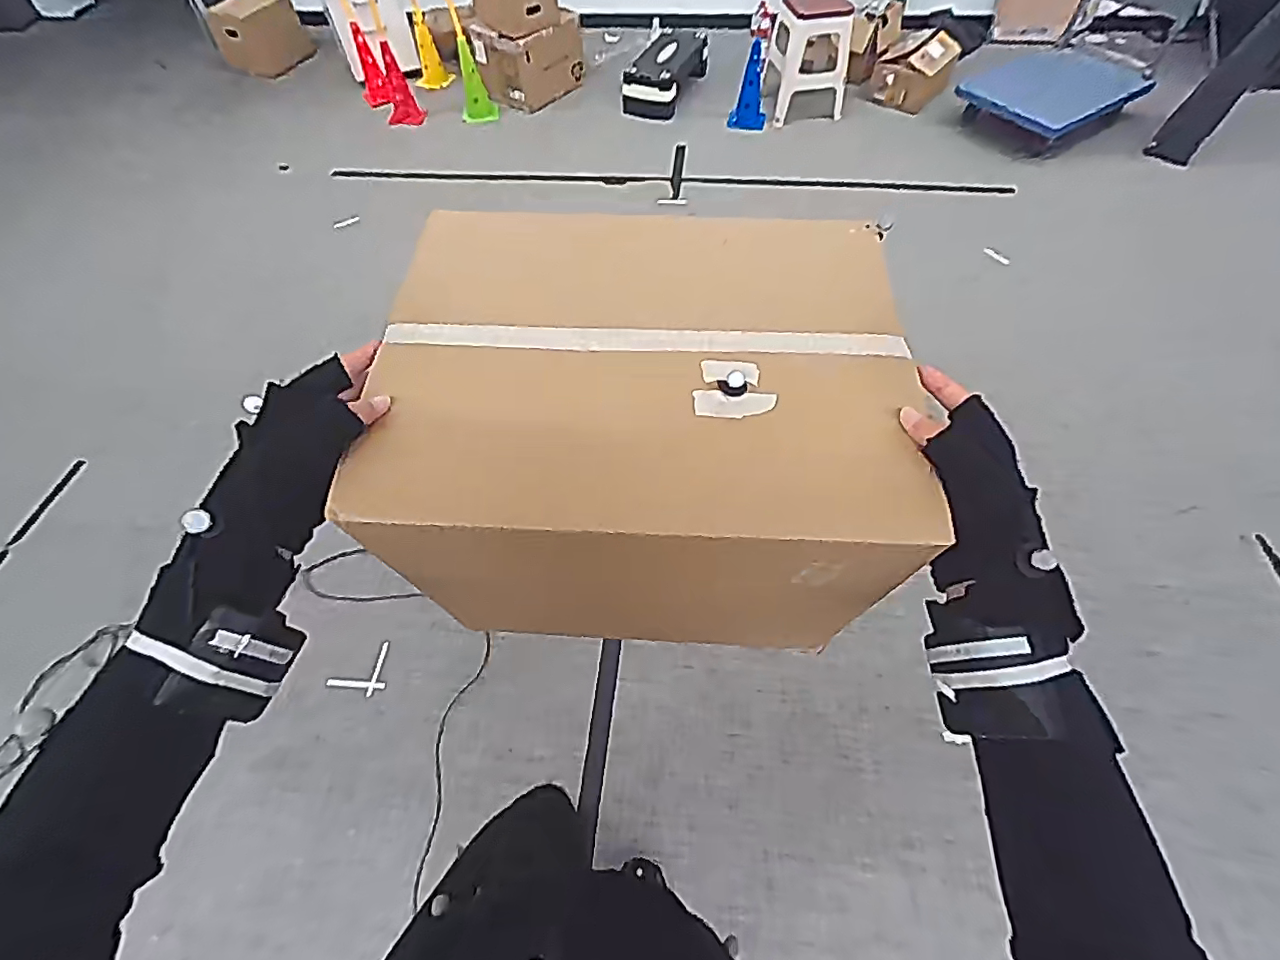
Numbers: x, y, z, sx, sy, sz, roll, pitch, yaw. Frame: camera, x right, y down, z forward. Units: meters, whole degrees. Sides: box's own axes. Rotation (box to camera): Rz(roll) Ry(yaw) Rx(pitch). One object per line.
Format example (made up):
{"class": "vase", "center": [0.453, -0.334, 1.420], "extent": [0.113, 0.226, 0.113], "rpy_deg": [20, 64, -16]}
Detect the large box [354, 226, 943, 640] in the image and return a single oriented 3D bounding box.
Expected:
{"class": "large box", "center": [0.007, -0.027, 0.560], "extent": [0.408, 0.320, 0.320], "rpy_deg": [3, 62, 1]}
